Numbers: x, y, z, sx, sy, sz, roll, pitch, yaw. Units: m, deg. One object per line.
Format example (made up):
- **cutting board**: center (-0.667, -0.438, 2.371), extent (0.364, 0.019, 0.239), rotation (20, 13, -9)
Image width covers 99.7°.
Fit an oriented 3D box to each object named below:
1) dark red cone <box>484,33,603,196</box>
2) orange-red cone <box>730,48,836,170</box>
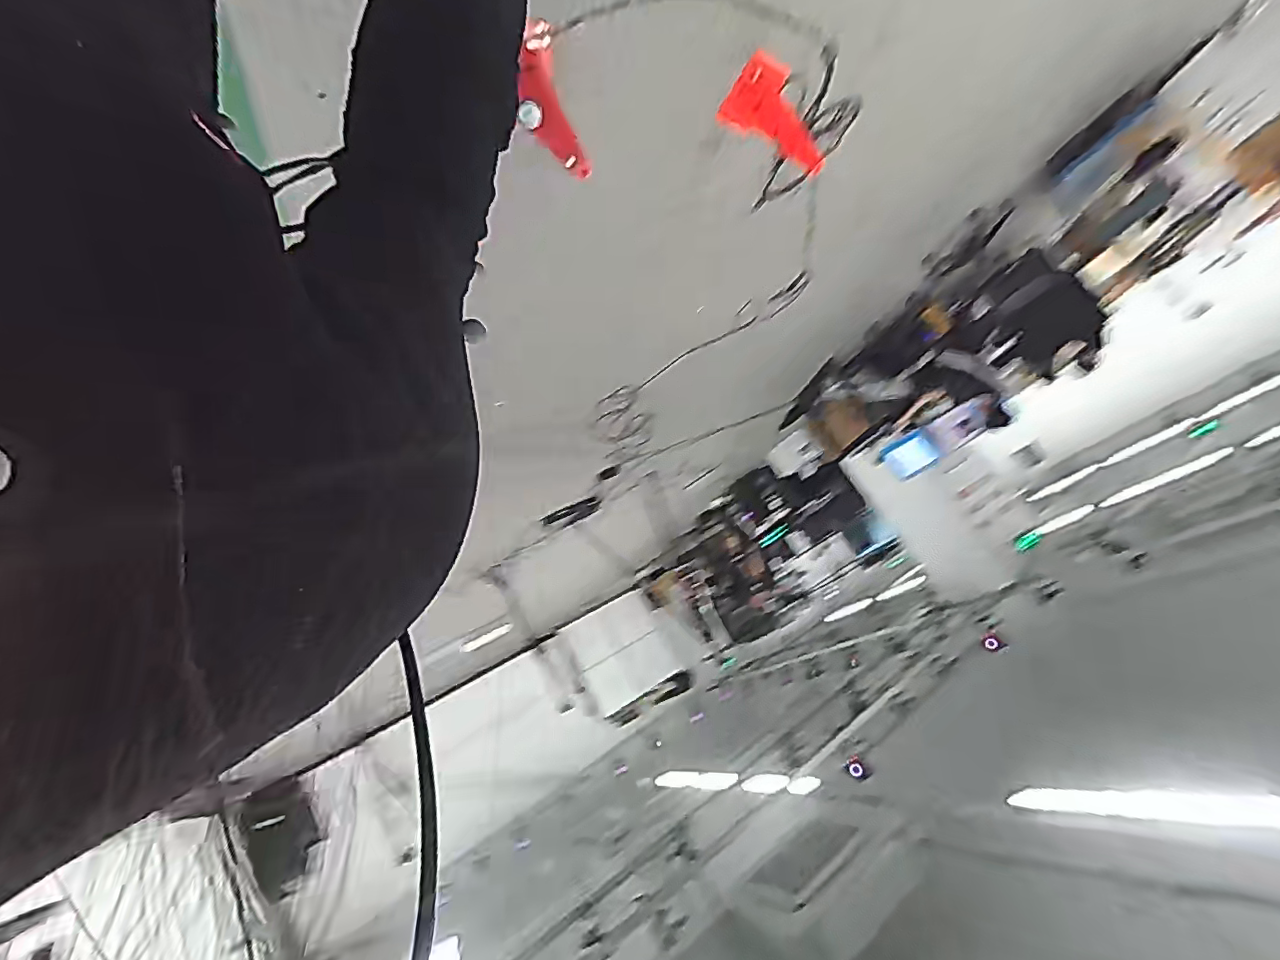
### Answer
- **dark red cone**: center (-0.182, -0.779, 1.196), extent (0.201, 0.394, 0.202), rotation (-23, 162, -19)
- **orange-red cone**: center (0.470, -1.067, 1.631), extent (0.198, 0.360, 0.199), rotation (-13, 156, -45)
